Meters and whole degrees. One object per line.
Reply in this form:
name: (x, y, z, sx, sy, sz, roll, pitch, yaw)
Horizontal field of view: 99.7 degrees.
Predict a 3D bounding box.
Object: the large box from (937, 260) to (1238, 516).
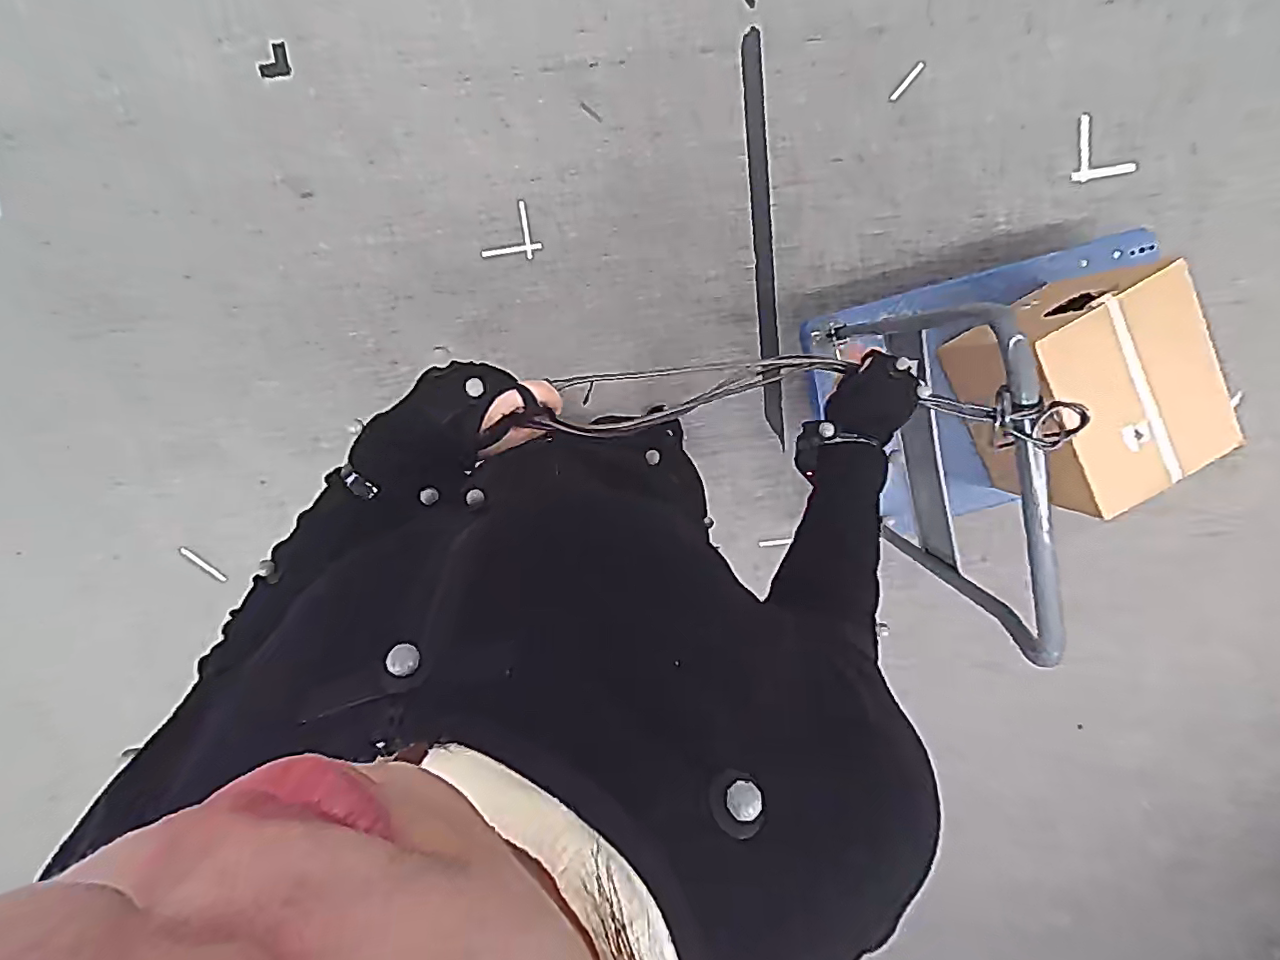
large box: (0.945, -0.196, 1.181, 0.320, 0.320, 0.408, -31, 102, 3)
